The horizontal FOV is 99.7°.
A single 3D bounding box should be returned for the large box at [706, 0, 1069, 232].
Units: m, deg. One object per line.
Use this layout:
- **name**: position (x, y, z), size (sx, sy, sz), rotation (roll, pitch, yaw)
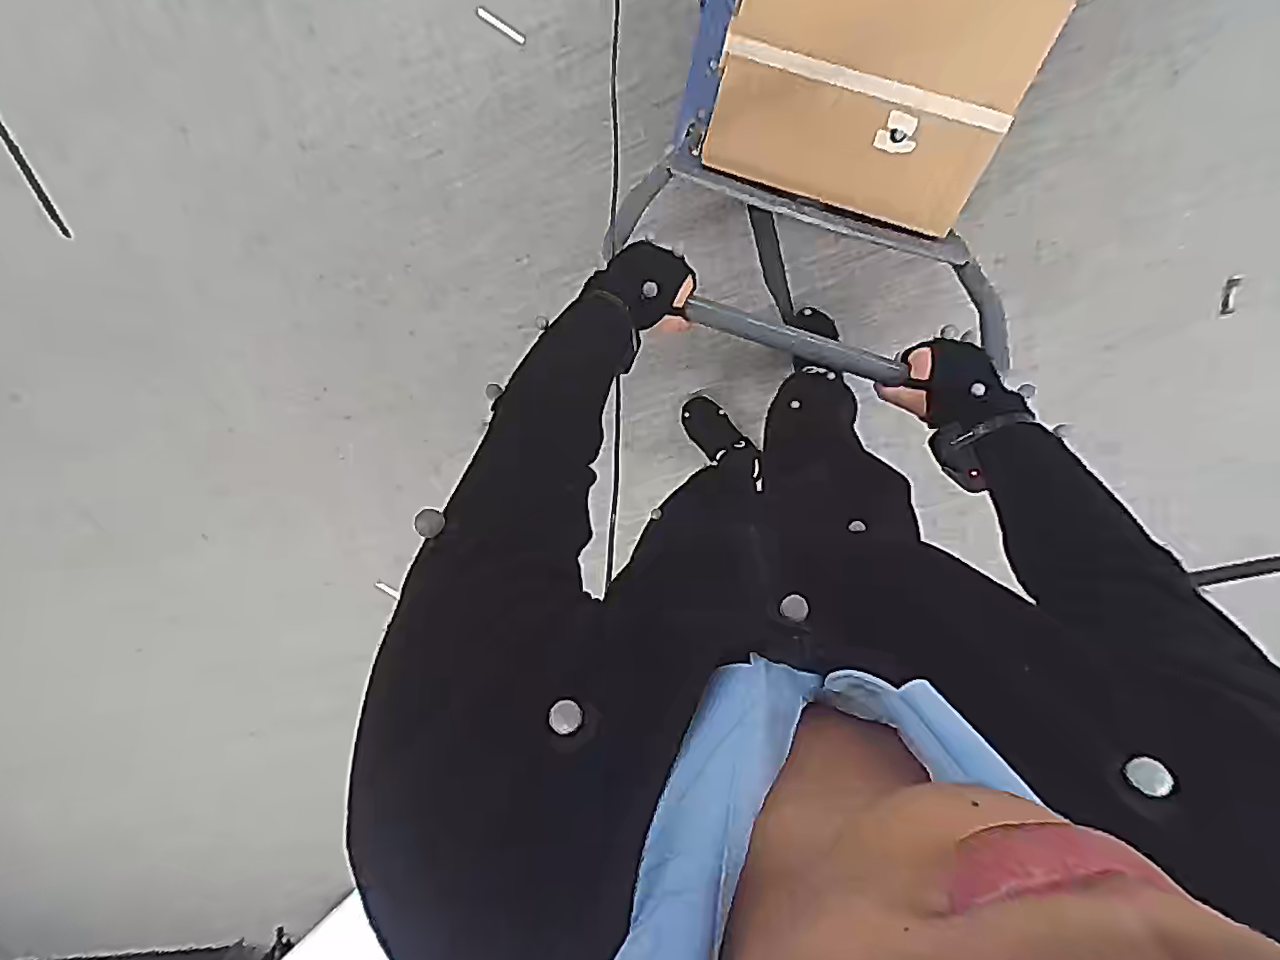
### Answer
- **large box**: position (0.354, -0.650, 0.887), size (0.408, 0.320, 0.320), rotation (18, 129, 2)
